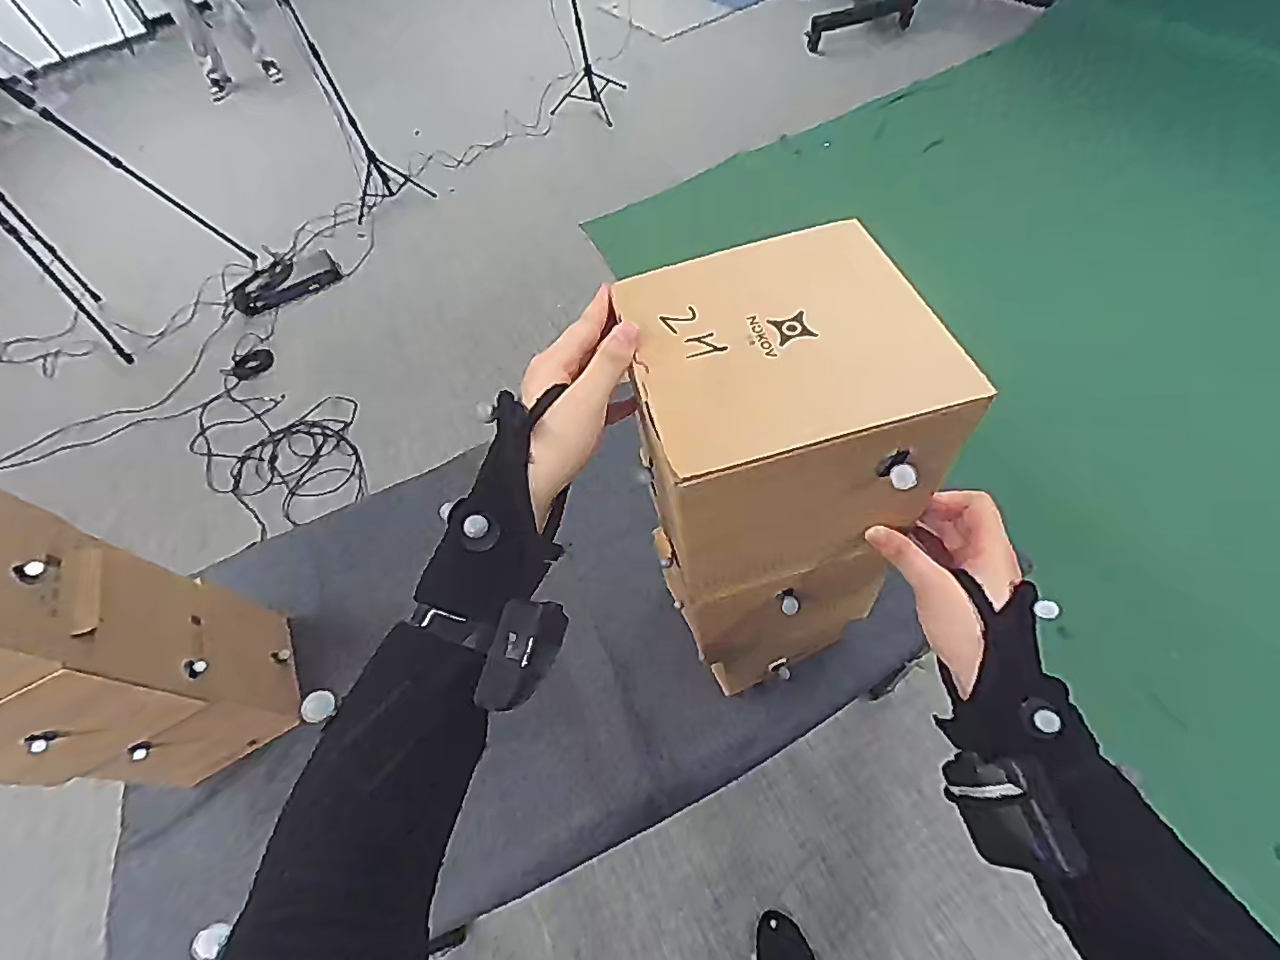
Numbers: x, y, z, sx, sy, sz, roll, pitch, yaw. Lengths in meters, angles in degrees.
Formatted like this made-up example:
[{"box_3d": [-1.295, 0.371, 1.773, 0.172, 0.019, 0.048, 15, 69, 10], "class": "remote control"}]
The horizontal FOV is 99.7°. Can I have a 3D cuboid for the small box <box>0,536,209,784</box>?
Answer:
[{"box_3d": [-0.598, 0.194, 0.572, 0.179, 0.176, 0.168, -29, 58, -8], "class": "small box"}]

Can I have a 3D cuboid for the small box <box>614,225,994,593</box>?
[{"box_3d": [0.092, -0.040, 0.384, 0.179, 0.176, 0.168, -15, 57, 0], "class": "small box"}]

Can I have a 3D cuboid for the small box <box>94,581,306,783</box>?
[{"box_3d": [-0.581, 0.272, 0.717, 0.168, 0.176, 0.179, -29, 57, -9], "class": "small box"}]

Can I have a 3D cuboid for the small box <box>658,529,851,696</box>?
[{"box_3d": [0.139, 0.135, 0.664, 0.168, 0.176, 0.179, -26, 55, -6], "class": "small box"}]

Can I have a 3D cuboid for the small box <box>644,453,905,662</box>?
[{"box_3d": [0.117, 0.055, 0.524, 0.179, 0.176, 0.168, -18, 54, 1], "class": "small box"}]
